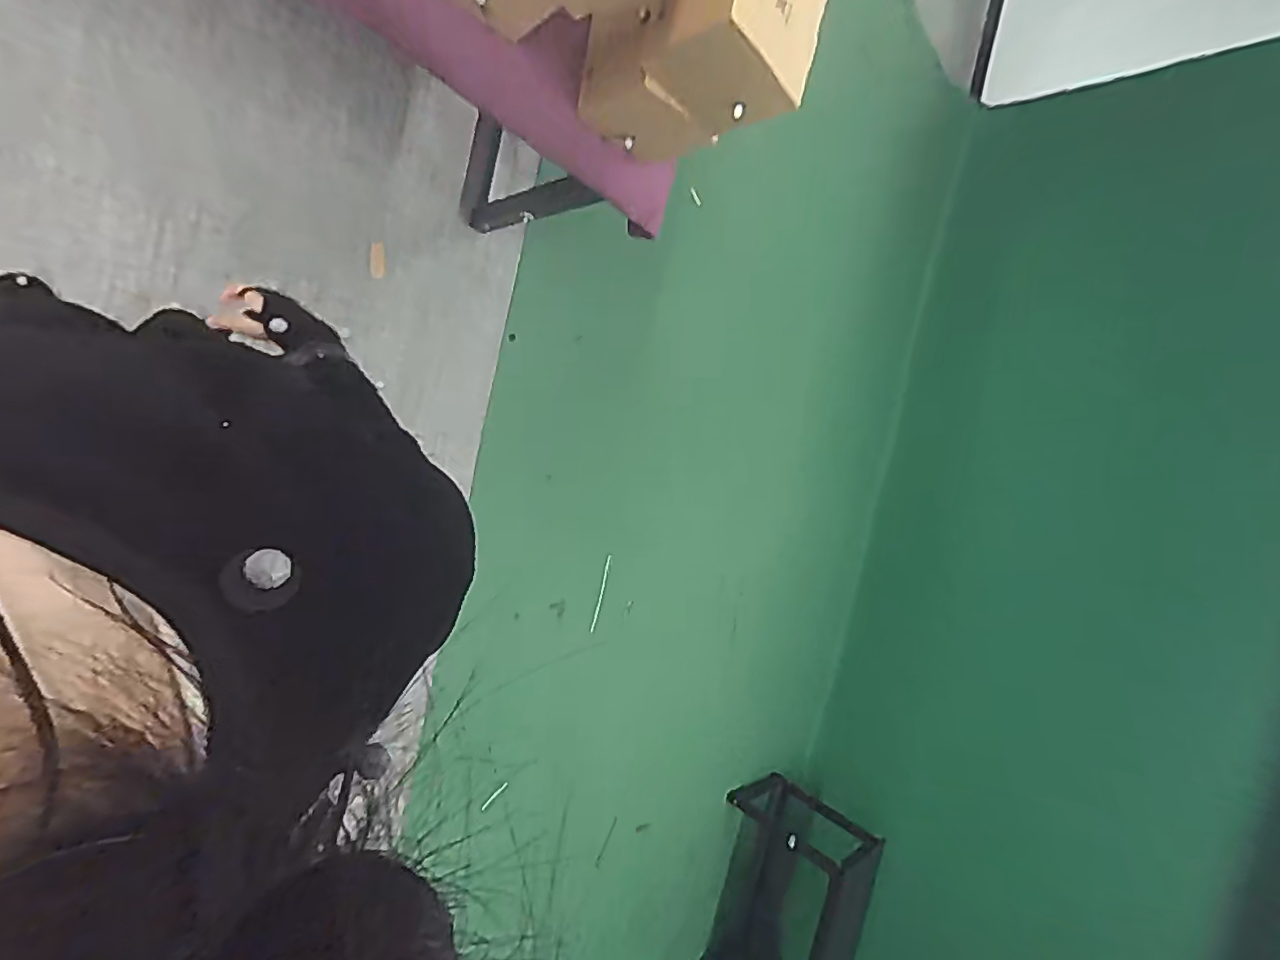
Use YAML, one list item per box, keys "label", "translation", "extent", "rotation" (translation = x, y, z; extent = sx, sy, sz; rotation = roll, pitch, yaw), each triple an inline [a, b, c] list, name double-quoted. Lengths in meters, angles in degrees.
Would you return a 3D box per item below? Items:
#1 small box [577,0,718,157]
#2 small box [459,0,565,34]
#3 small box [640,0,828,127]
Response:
- label: "small box"
  translation: [0.025, -0.658, 0.884]
  extent: [0.179, 0.176, 0.168]
  rotation: [6, 96, -45]
- label: "small box"
  translation: [-0.174, -0.721, 0.671]
  extent: [0.168, 0.176, 0.179]
  rotation: [3, 98, -44]
- label: "small box"
  translation: [0.131, -0.635, 0.760]
  extent: [0.179, 0.176, 0.168]
  rotation: [14, 91, -45]
